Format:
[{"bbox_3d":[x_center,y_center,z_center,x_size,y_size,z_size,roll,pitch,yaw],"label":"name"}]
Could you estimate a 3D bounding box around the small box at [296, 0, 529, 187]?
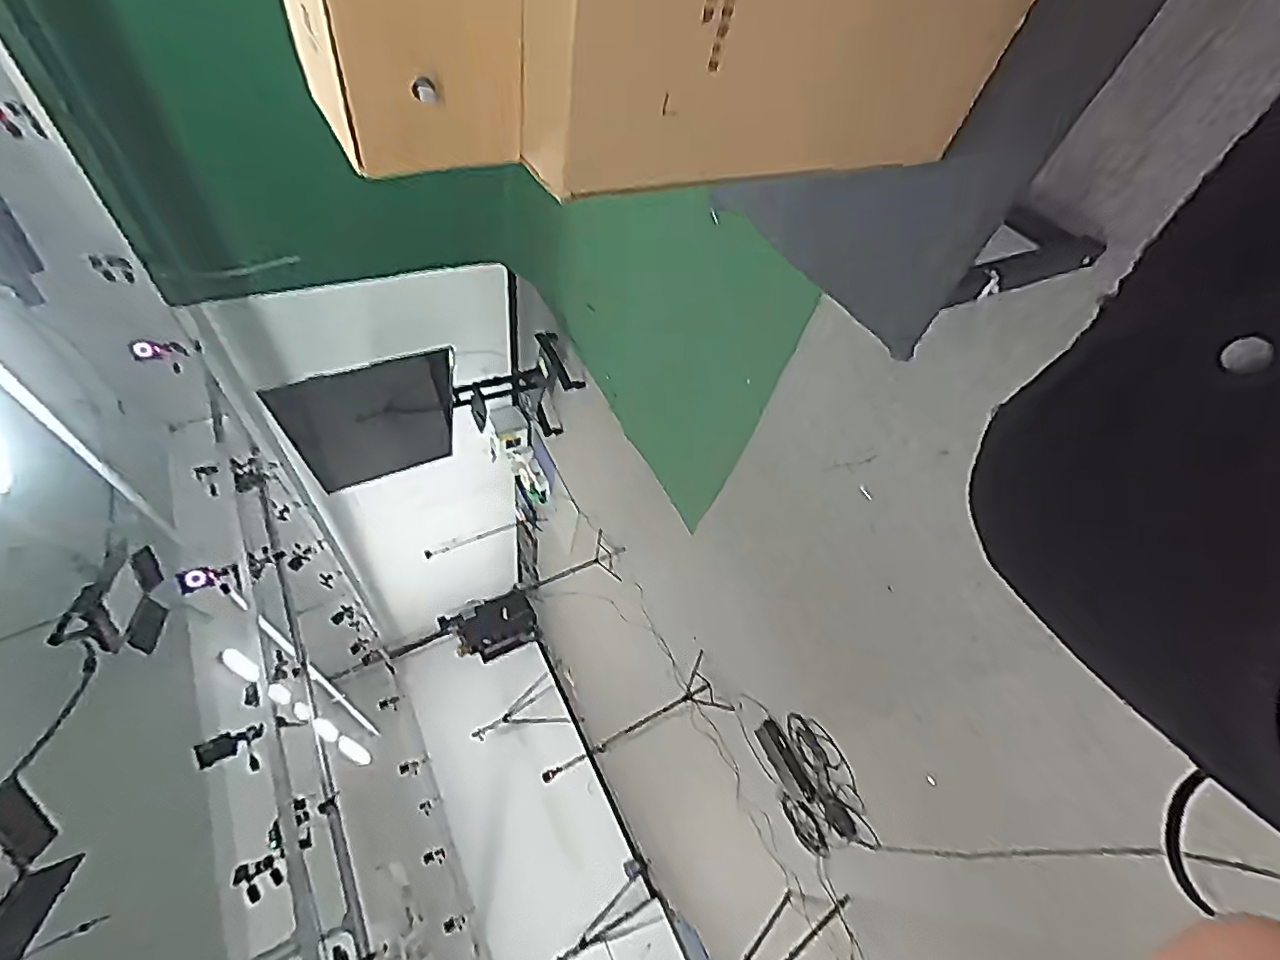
[{"bbox_3d":[-0.218,-0.423,0.527,0.168,0.176,0.179,54,152,23],"label":"small box"}]
